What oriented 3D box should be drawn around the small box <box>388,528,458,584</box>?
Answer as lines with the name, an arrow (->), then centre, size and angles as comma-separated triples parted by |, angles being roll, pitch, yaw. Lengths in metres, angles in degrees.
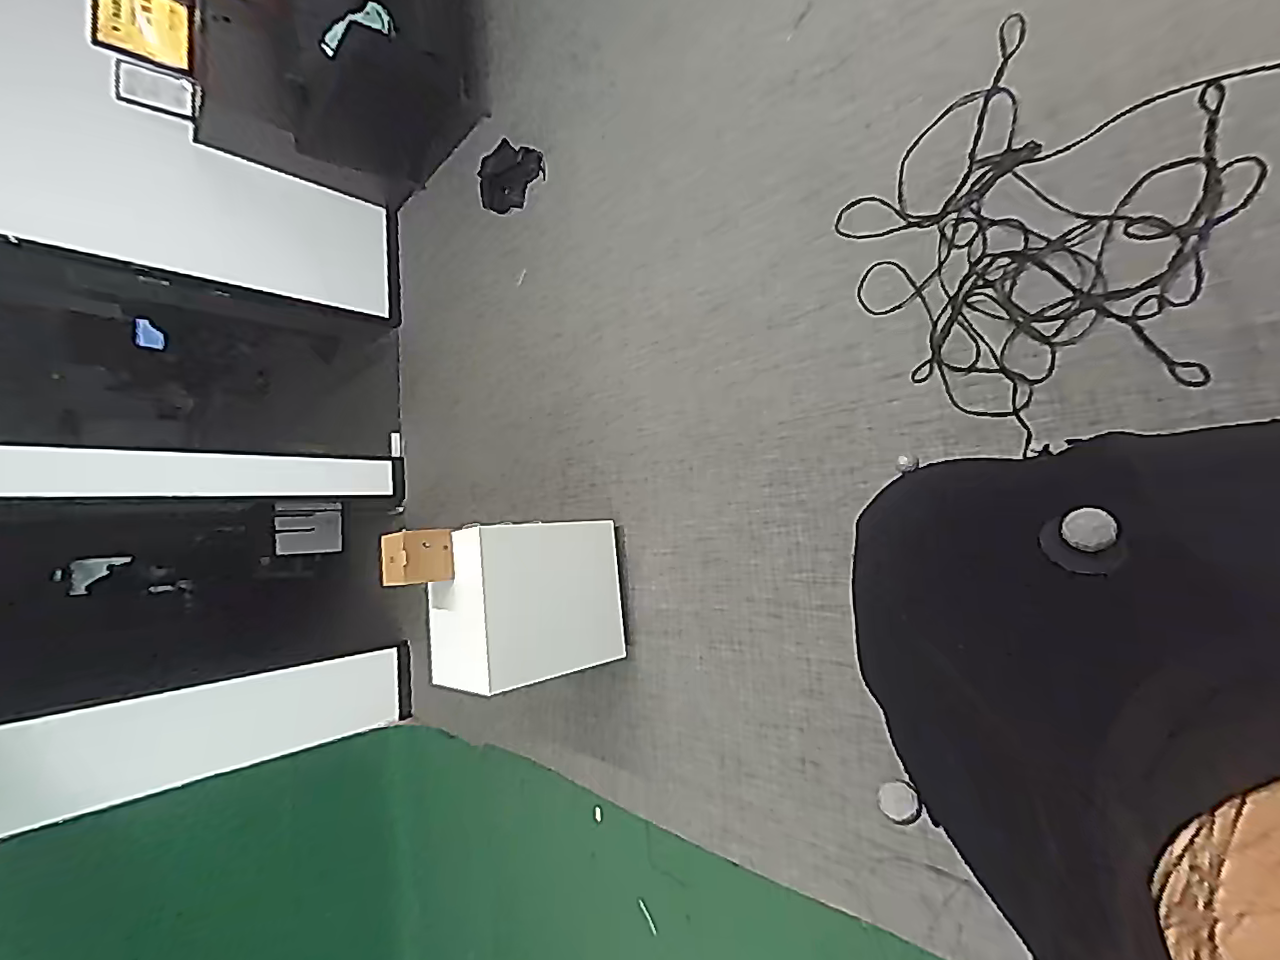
small box -> -0.711, 0.250, 1.783 | 0.179, 0.176, 0.168 | -13, 79, 45
